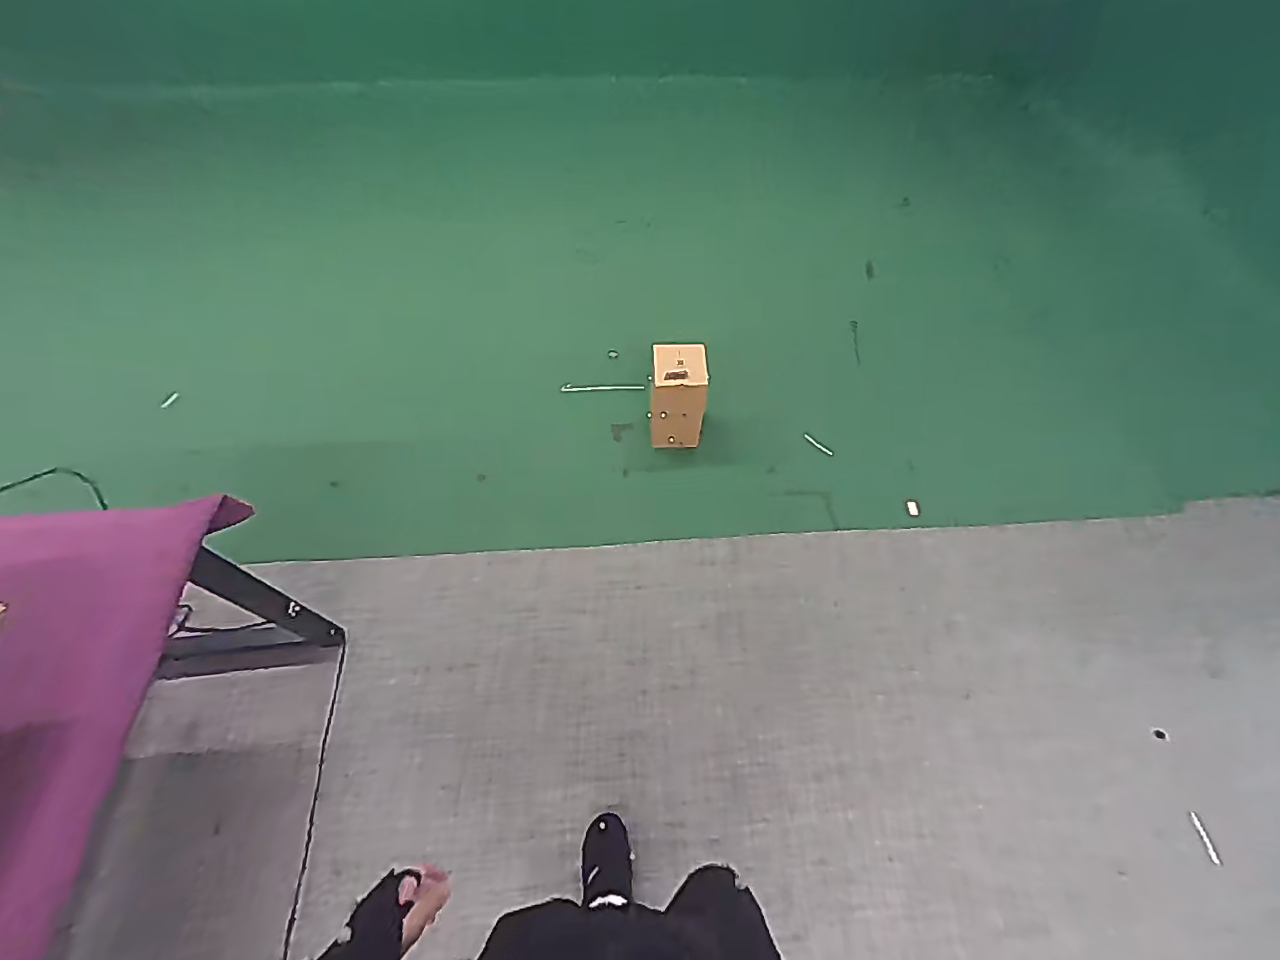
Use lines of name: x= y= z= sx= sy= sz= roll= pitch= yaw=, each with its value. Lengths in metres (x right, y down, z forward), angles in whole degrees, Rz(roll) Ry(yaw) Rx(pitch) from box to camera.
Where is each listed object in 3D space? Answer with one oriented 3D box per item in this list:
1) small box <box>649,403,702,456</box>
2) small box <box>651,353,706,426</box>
small box: x=0.119 y=-0.204 z=1.902 sx=0.168 sy=0.176 sz=0.179 roll=-2 pitch=58 yaw=-2
small box: x=0.122 y=-0.291 z=1.762 sx=0.168 sy=0.176 sz=0.179 roll=0 pitch=58 yaw=-2
